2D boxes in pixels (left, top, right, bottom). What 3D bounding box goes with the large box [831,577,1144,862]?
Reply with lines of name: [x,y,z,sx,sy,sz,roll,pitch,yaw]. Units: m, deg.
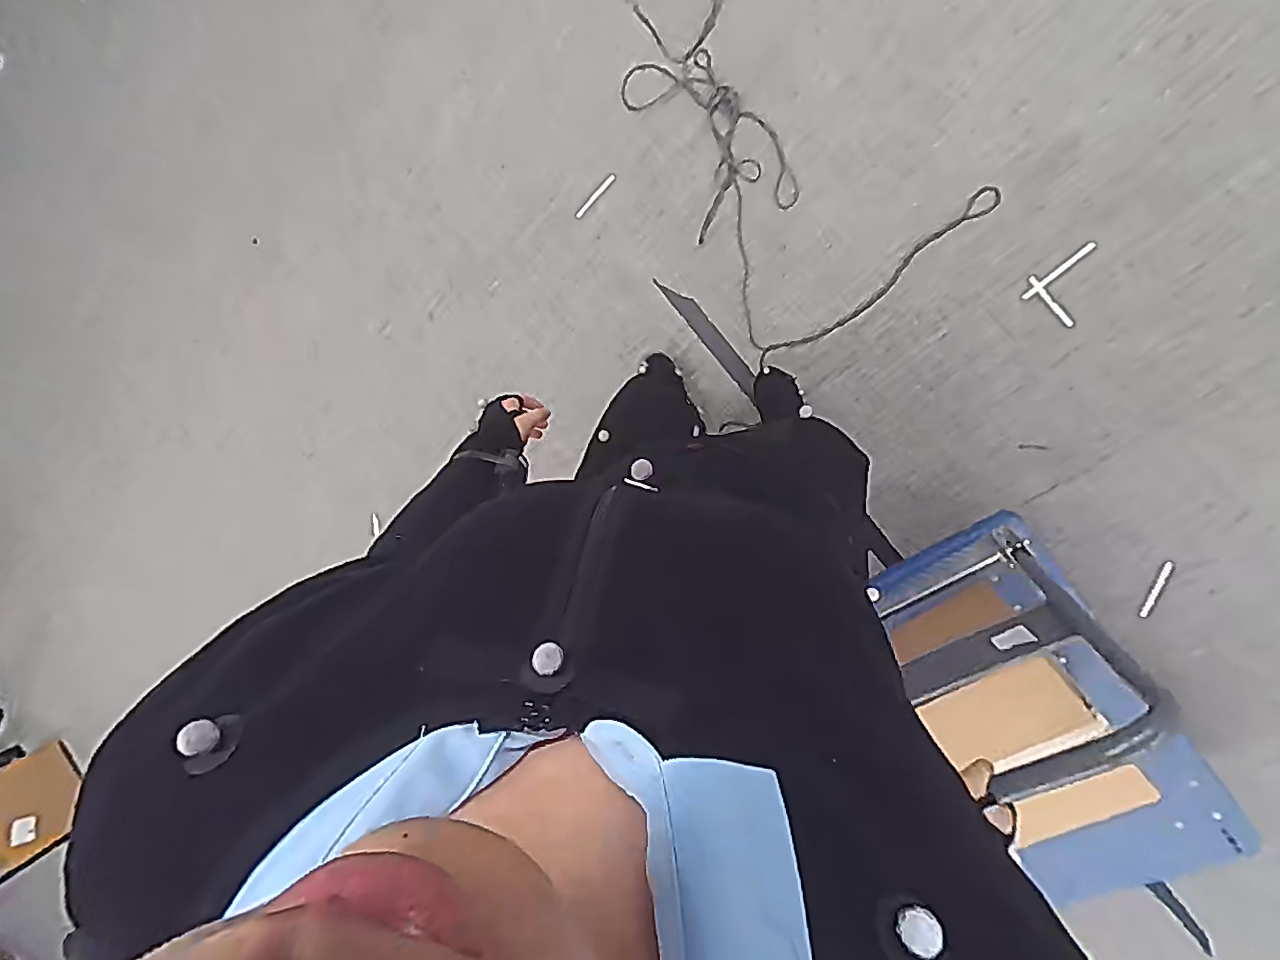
large box: [0.655,0.472,1.114,0.408,0.320,0.320,-41,87,23]
